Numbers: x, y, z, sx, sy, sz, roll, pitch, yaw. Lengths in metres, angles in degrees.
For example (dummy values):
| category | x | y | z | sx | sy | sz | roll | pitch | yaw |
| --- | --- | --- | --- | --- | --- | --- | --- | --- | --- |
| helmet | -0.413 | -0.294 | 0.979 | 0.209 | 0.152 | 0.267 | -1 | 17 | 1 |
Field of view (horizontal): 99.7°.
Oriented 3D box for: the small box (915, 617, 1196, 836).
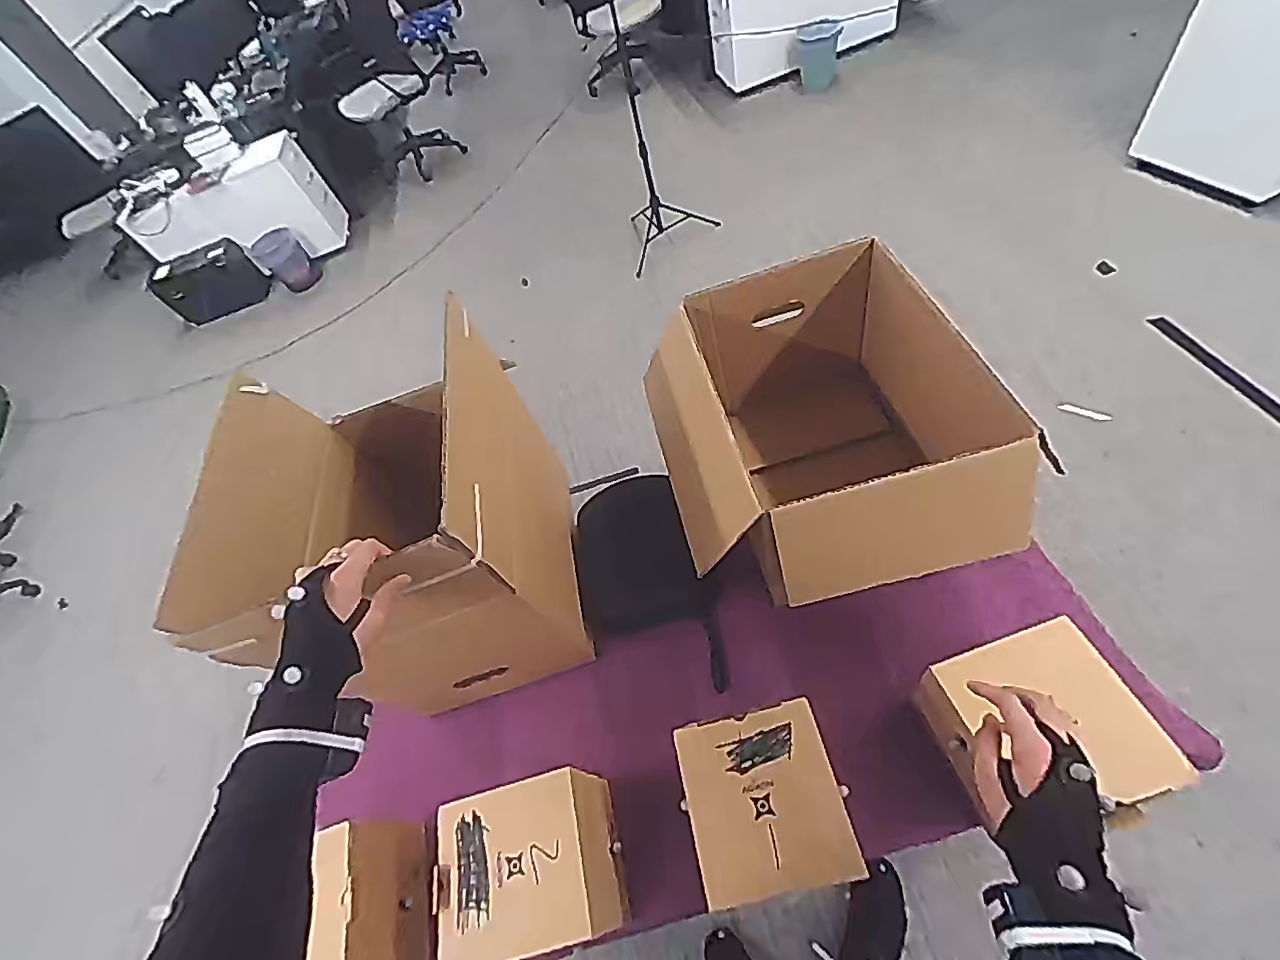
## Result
| category | x | y | z | sx | sy | sz | roll | pitch | yaw |
| --- | --- | --- | --- | --- | --- | --- | --- | --- | --- |
| small box | 0.448 | 0.291 | 0.628 | 0.168 | 0.176 | 0.179 | -22 | 54 | 3 |

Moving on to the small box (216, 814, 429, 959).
| category | x | y | z | sx | sy | sz | roll | pitch | yaw |
| --- | --- | --- | --- | --- | --- | --- | --- | --- | --- |
| small box | -0.401 | 0.560 | 0.704 | 0.179 | 0.176 | 0.168 | -21 | 54 | 1 |

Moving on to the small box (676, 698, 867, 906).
| category | x | y | z | sx | sy | sz | roll | pitch | yaw |
| --- | --- | --- | --- | --- | --- | --- | --- | --- | --- |
| small box | 0.151 | 0.387 | 0.654 | 0.168 | 0.176 | 0.179 | -16 | 55 | 6 |
